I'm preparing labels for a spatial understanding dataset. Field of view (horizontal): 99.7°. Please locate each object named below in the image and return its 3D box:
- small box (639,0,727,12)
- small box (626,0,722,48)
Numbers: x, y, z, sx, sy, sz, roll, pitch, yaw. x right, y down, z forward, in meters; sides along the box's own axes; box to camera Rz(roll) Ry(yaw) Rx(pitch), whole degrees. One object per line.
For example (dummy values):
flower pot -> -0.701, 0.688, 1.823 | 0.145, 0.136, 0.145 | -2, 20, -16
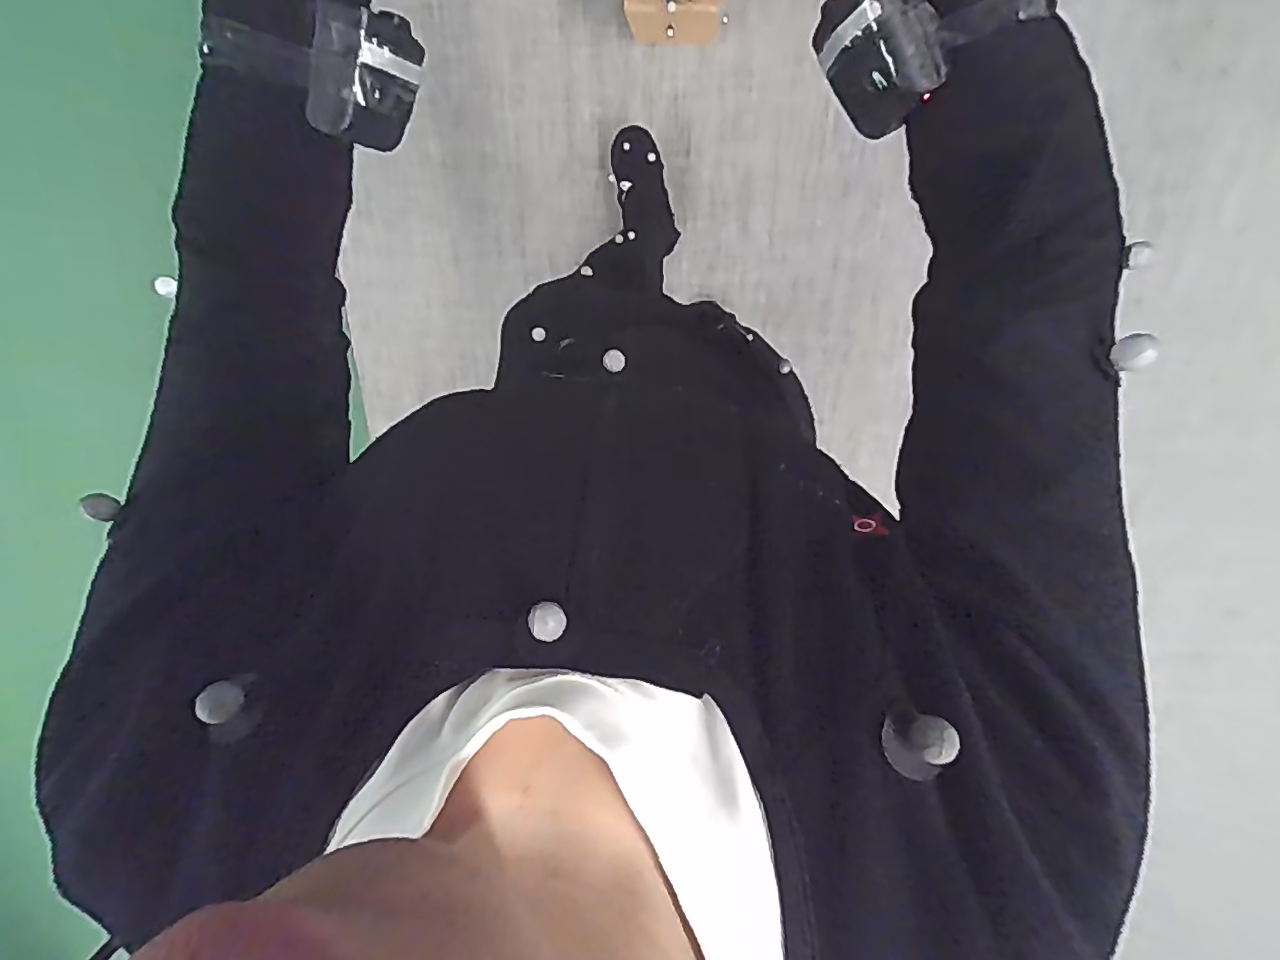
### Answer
small box -> 0.067, -0.910, 0.883 | 0.168, 0.176, 0.179 | 5, 112, 8
small box -> 0.074, -0.960, 1.037 | 0.179, 0.176, 0.168 | 5, 111, 7
